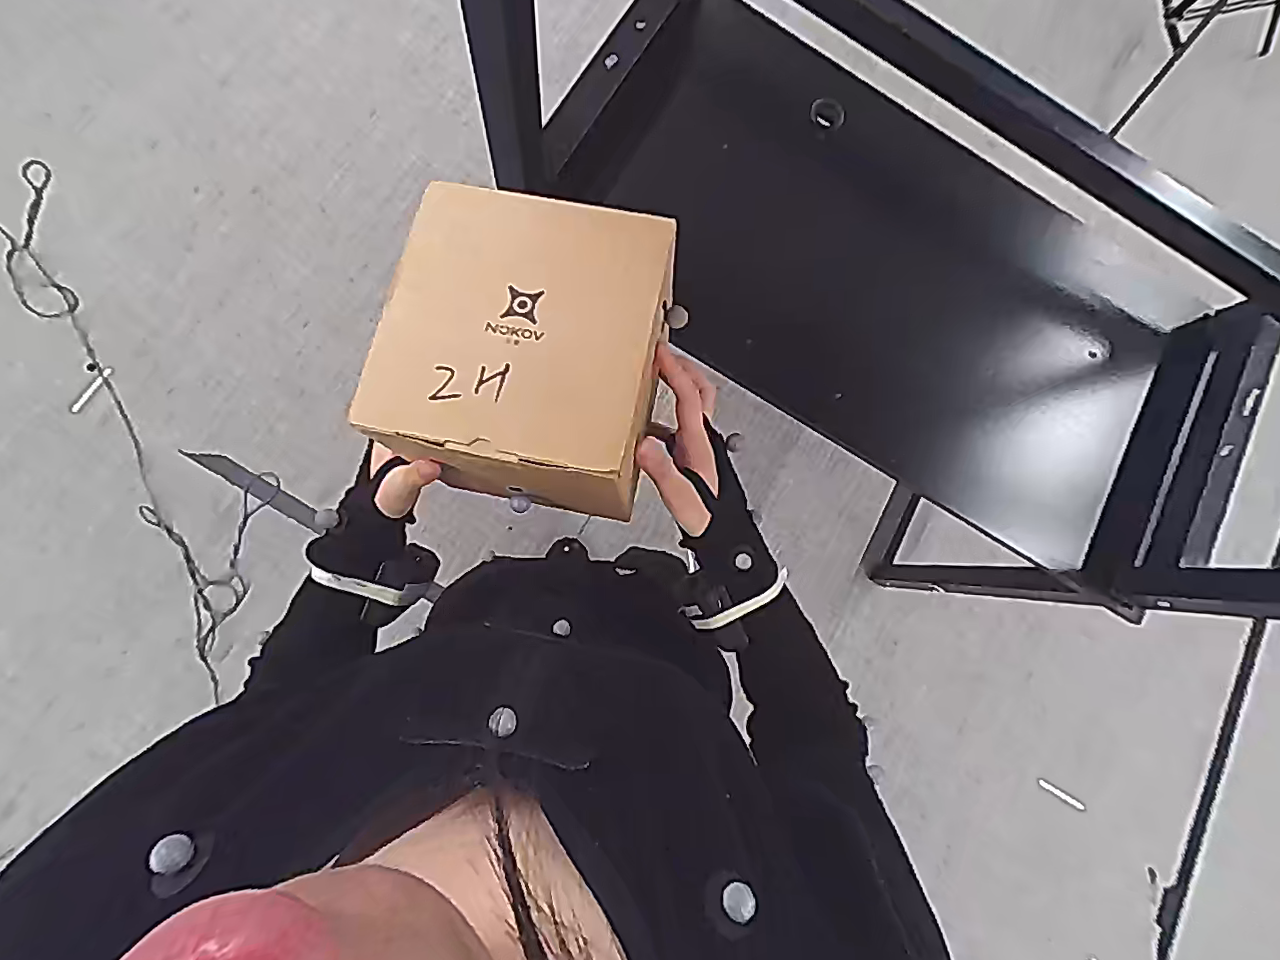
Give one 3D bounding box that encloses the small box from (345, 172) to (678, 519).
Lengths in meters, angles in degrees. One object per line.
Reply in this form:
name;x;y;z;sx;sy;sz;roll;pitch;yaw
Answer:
small box;-0.072;-0.081;0.400;0.168;0.176;0.179;11;78;4
